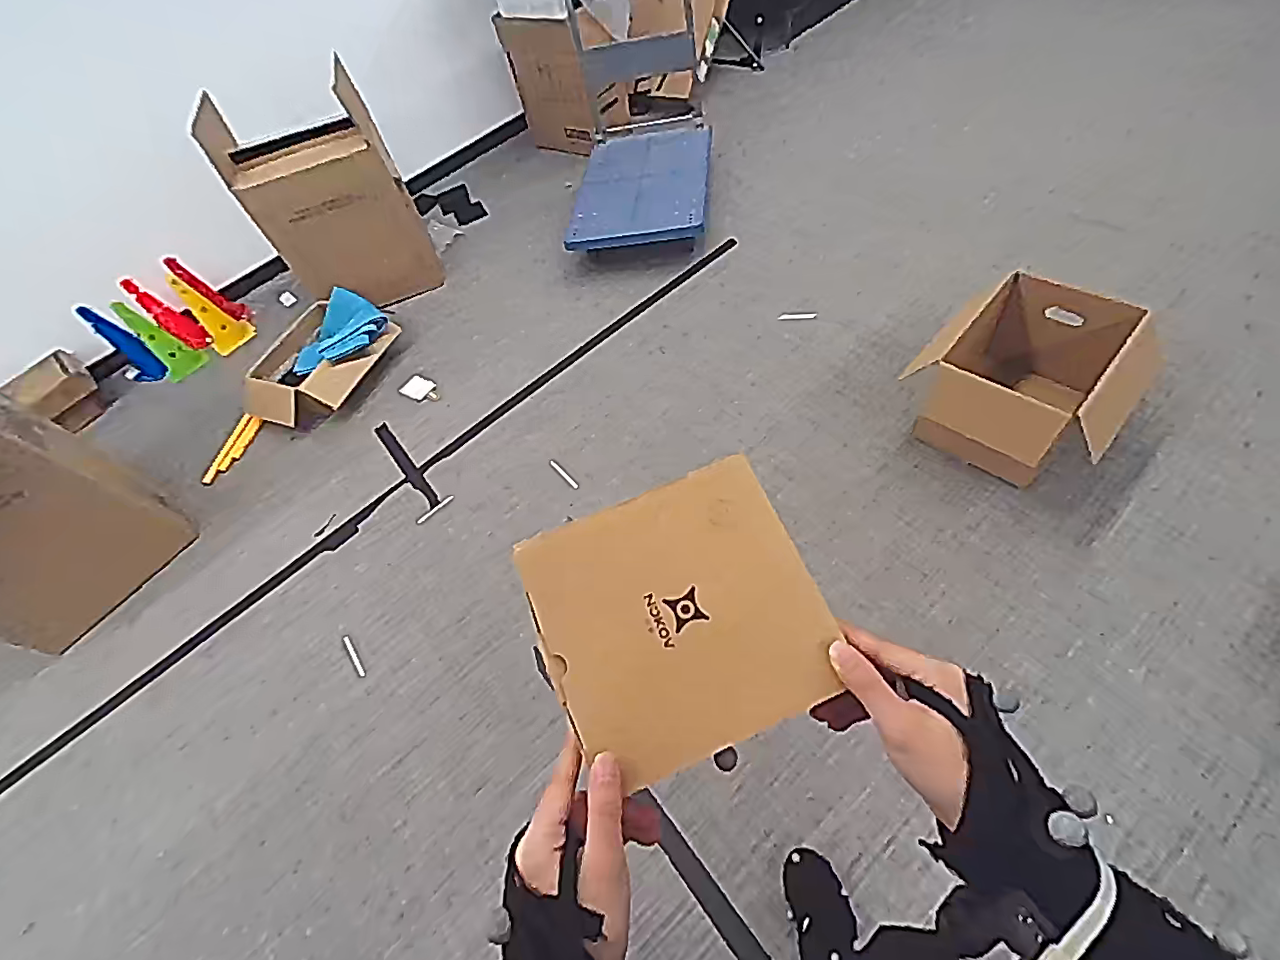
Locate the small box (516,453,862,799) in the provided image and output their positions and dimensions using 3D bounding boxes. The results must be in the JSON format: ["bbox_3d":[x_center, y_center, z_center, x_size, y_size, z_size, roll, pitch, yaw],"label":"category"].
[{"bbox_3d":[0.029,0.108,0.418,0.179,0.176,0.168,-23,71,-5],"label":"small box"}]
